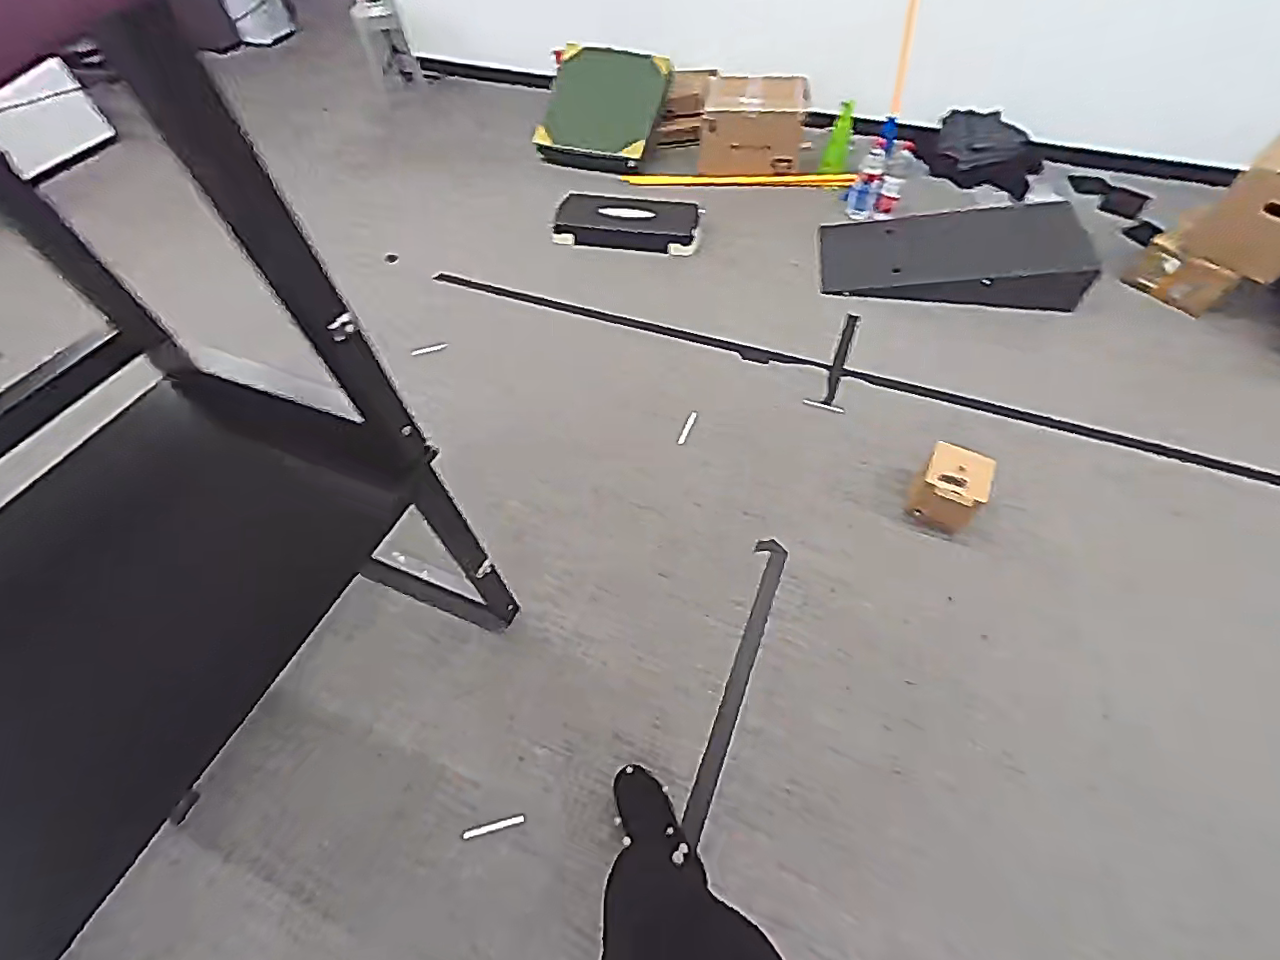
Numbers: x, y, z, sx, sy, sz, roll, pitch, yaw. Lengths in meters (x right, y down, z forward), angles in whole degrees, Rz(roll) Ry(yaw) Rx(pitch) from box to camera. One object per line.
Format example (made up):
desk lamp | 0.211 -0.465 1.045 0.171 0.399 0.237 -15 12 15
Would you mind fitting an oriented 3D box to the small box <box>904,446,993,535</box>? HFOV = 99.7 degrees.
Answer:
small box | 0.915 0.037 1.617 0.168 0.176 0.179 24 58 17
